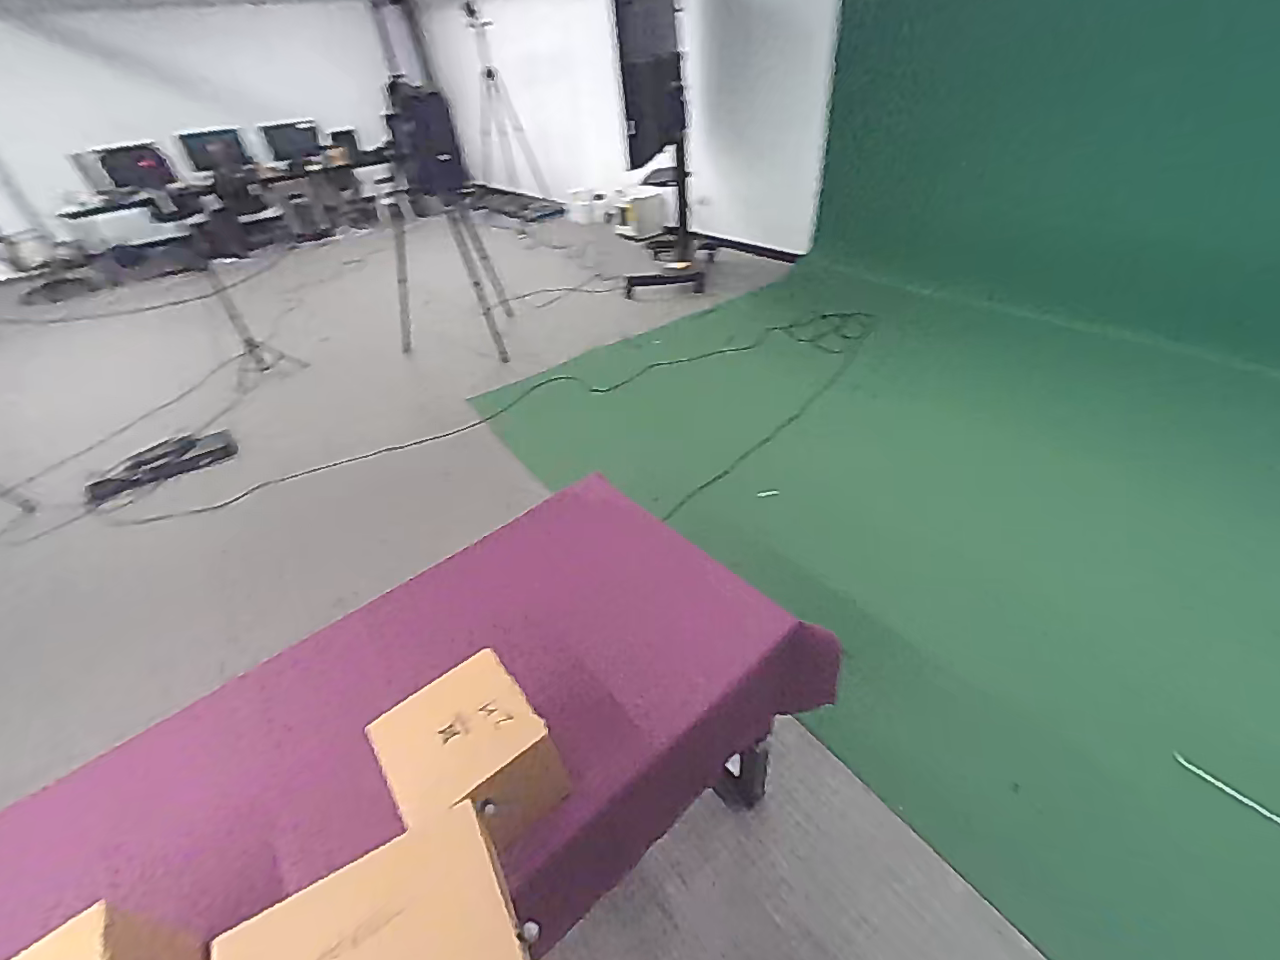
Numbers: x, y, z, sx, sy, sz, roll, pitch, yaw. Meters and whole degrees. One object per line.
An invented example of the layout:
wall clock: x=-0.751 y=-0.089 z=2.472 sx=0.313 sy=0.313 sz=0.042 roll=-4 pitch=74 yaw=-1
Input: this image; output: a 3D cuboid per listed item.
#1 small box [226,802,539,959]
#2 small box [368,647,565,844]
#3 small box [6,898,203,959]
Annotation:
small box: x=-0.158 y=0.374 z=0.384 sx=0.168 sy=0.176 sz=0.179 roll=-19 pitch=52 yaw=-24
small box: x=-0.221 y=0.369 z=0.719 sx=0.179 sy=0.176 sz=0.168 roll=-30 pitch=45 yaw=-26
small box: x=-0.561 y=0.568 z=0.519 sx=0.179 sy=0.176 sz=0.168 roll=-30 pitch=44 yaw=-28
